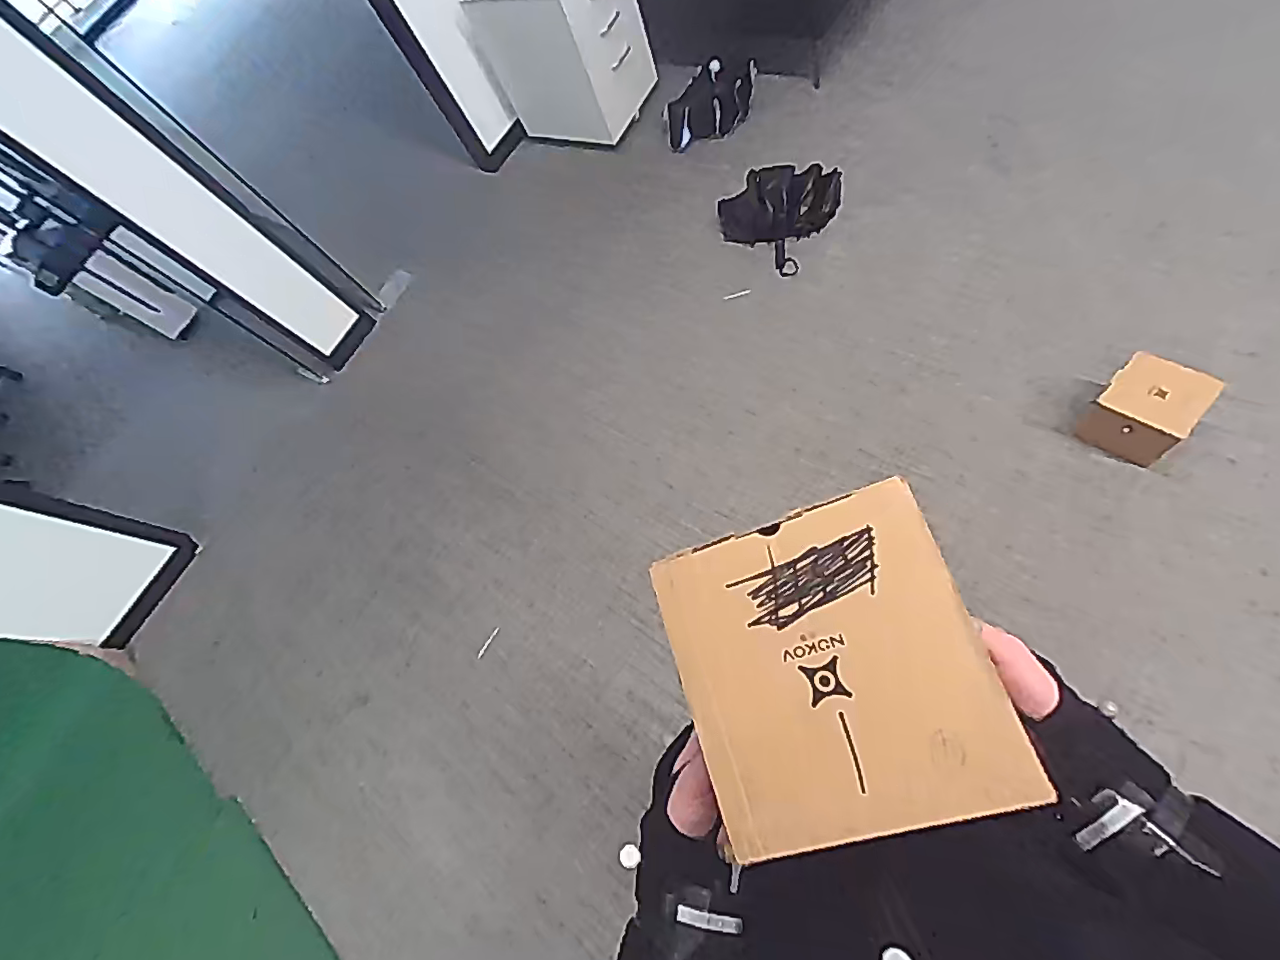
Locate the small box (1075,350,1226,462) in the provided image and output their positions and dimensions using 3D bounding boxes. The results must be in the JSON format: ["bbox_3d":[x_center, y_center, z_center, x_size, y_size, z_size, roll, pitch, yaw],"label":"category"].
[{"bbox_3d":[1.185,-0.167,1.274,0.179,0.176,0.168,38,86,28],"label":"small box"}]

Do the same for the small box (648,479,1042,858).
[{"bbox_3d":[0.126,0.121,0.379,0.168,0.176,0.179,-22,72,15],"label":"small box"}]
